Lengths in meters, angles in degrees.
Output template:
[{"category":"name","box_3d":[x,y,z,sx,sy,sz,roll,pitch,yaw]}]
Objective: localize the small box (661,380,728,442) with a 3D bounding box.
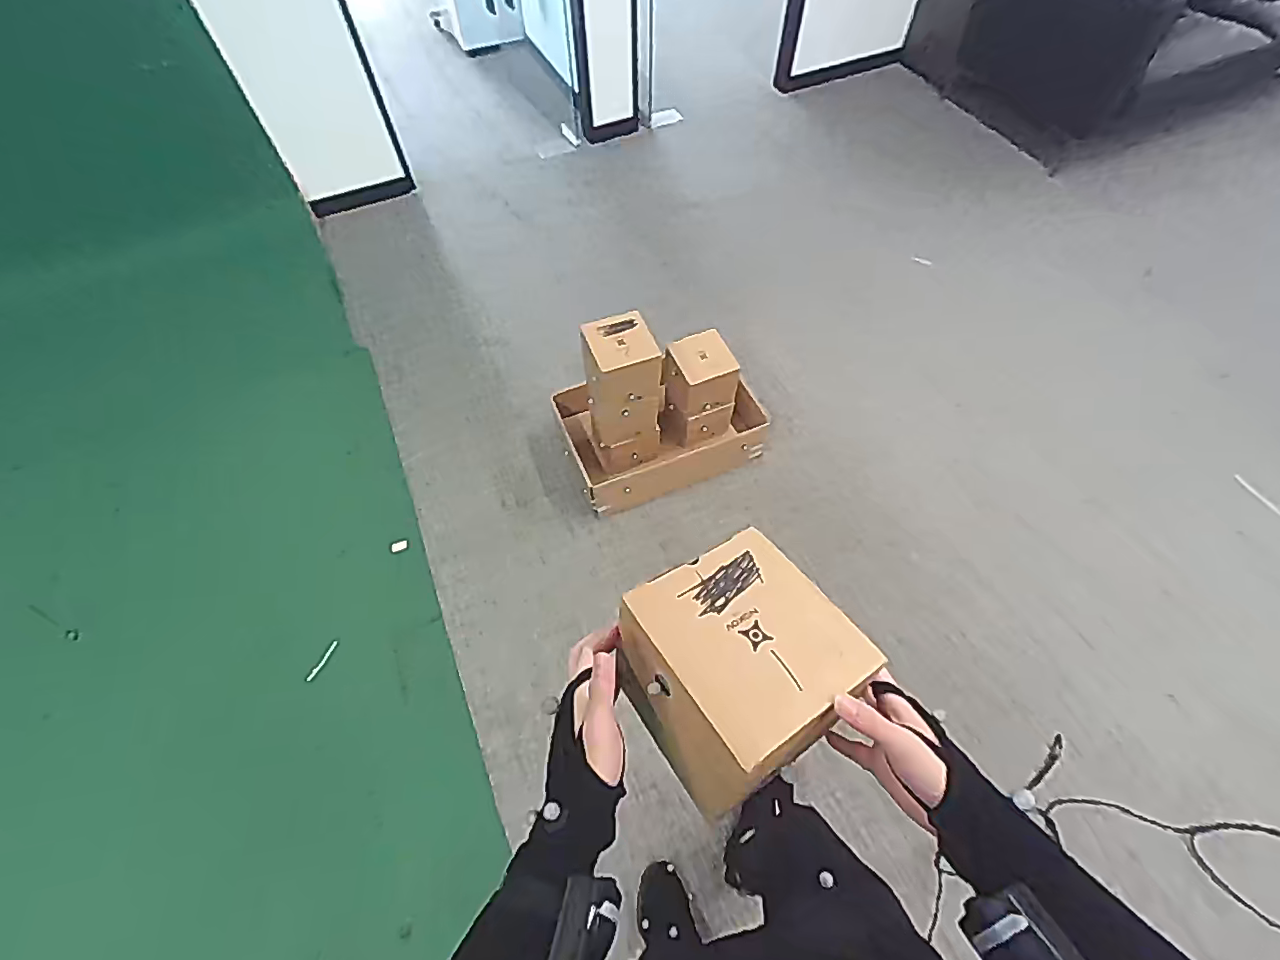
[{"category":"small box","box_3d":[0.177,-0.247,1.811,0.168,0.176,0.179,-21,62,-12]}]

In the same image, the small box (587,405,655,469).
[{"category":"small box","box_3d":[-0.062,-0.157,1.755,0.168,0.176,0.179,-21,62,-14]}]

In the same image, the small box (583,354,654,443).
[{"category":"small box","box_3d":[-0.065,-0.240,1.613,0.168,0.176,0.179,-17,61,-10]}]

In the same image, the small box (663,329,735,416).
[{"category":"small box","box_3d":[0.174,-0.330,1.670,0.168,0.176,0.179,-20,63,-9]}]
